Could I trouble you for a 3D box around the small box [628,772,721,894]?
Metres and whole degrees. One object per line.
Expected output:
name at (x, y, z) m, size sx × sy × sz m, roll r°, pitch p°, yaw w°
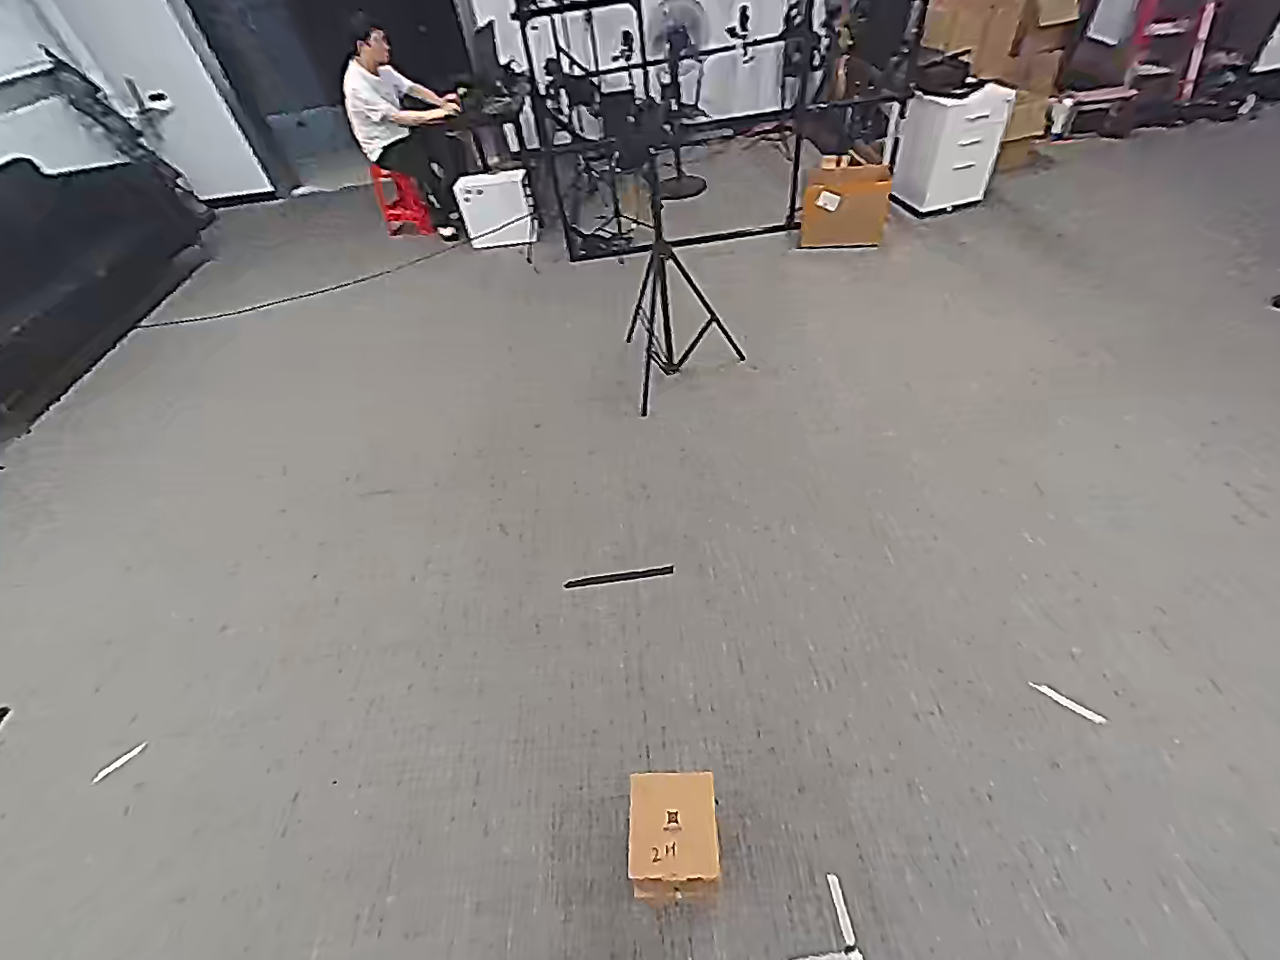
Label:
small box at (0.070, 0.698, 1.068) m, size 0.168 × 0.176 × 0.179 m, roll -5°, pitch 47°, yaw 6°
